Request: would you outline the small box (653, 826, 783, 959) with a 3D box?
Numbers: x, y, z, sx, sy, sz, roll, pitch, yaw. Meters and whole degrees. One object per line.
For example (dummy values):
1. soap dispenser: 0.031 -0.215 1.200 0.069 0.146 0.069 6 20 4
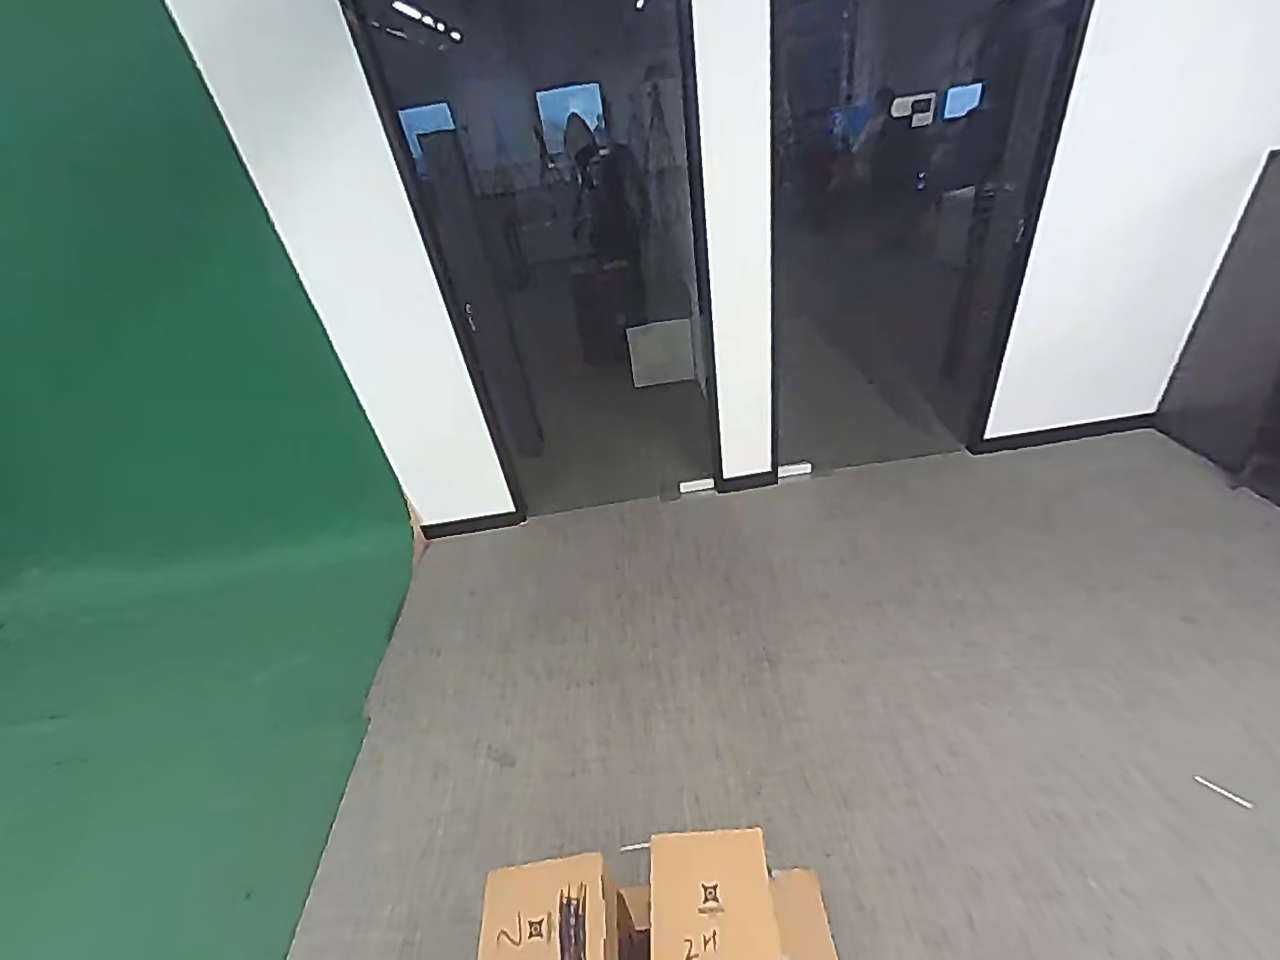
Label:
1. small box: 0.112 0.631 0.774 0.168 0.176 0.179 -9 34 7
